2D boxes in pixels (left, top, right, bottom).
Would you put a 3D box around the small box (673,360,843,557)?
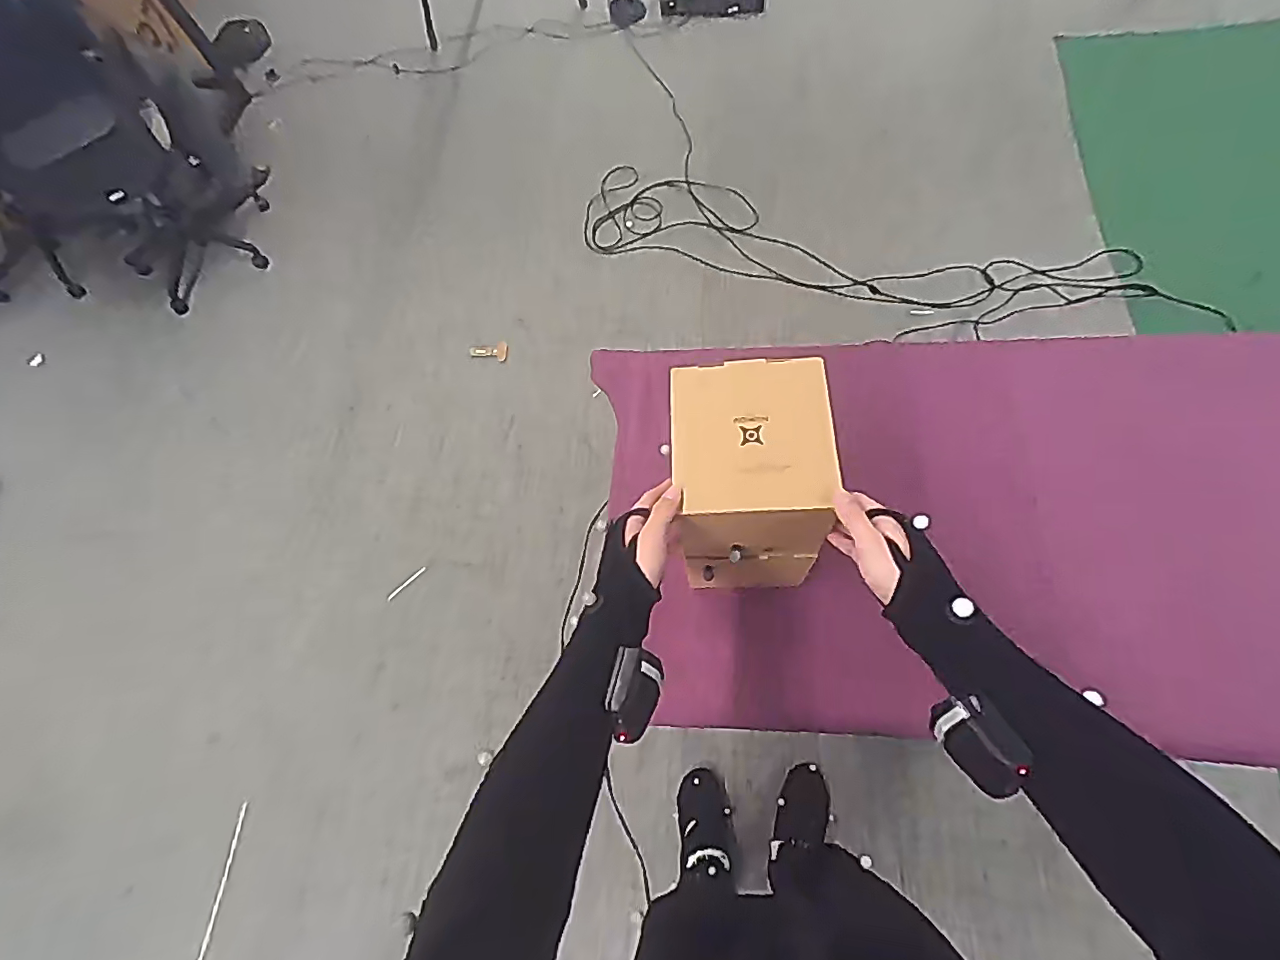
[{"bbox_3d":[0.125,-0.017,0.629,0.168,0.176,0.179,-2,68,8],"label":"small box"}]
